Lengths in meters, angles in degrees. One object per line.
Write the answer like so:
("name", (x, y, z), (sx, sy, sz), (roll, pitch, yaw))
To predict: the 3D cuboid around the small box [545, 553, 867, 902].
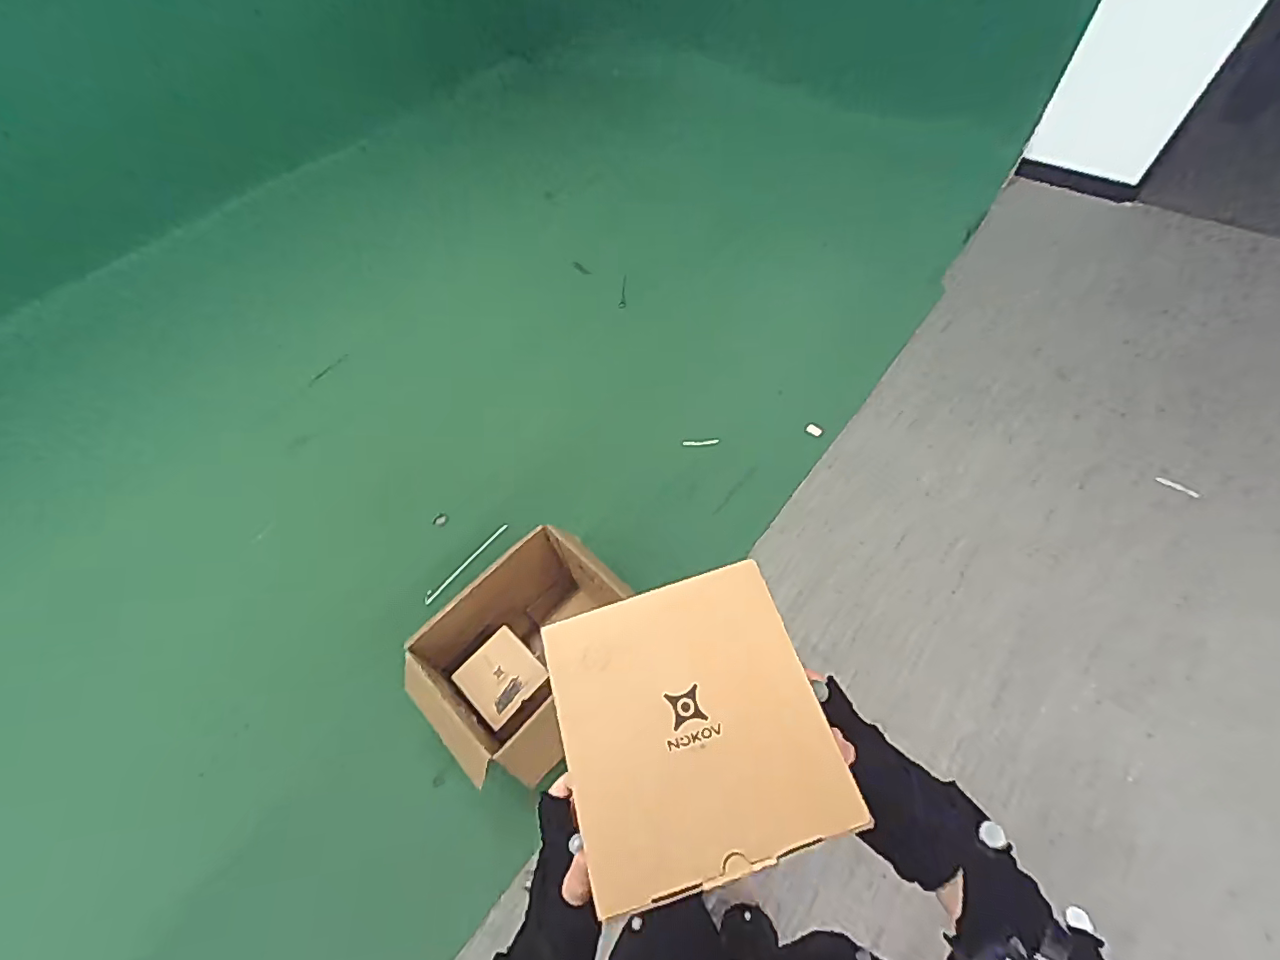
("small box", (0.039, 0.187, 0.418), (0.168, 0.176, 0.179), (-18, 58, -4))
